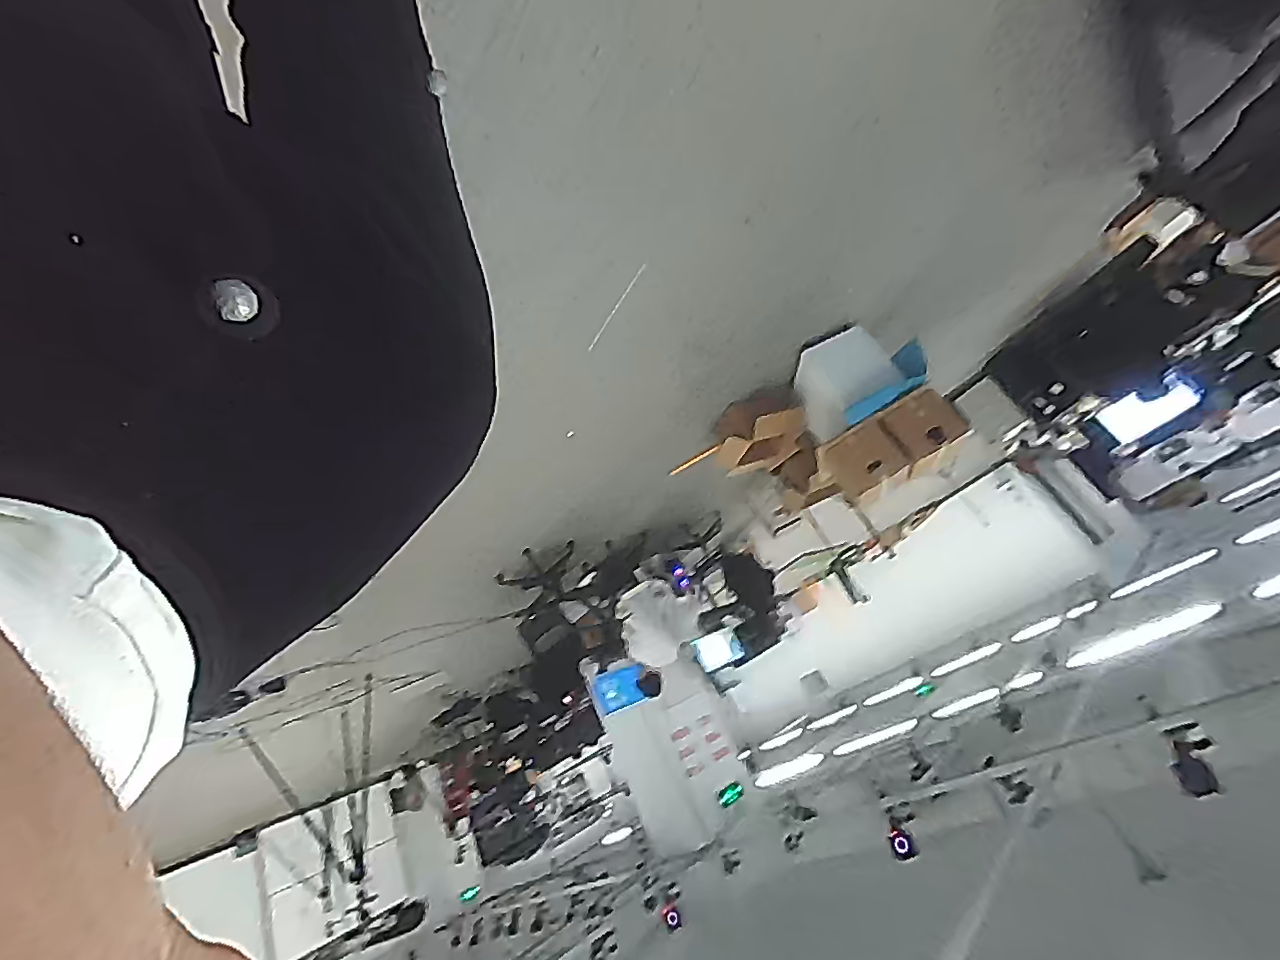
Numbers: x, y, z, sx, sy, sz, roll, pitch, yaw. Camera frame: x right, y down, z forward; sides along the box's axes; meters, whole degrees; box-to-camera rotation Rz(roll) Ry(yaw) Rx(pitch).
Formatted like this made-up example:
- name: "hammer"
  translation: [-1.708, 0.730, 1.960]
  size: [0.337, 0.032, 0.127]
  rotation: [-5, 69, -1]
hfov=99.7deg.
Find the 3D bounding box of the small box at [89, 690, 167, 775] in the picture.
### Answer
- name: "small box"
  translation: [-1.573, 0.769, 1.663]
  size: [0.168, 0.176, 0.179]
  rotation: [-3, 146, -43]
